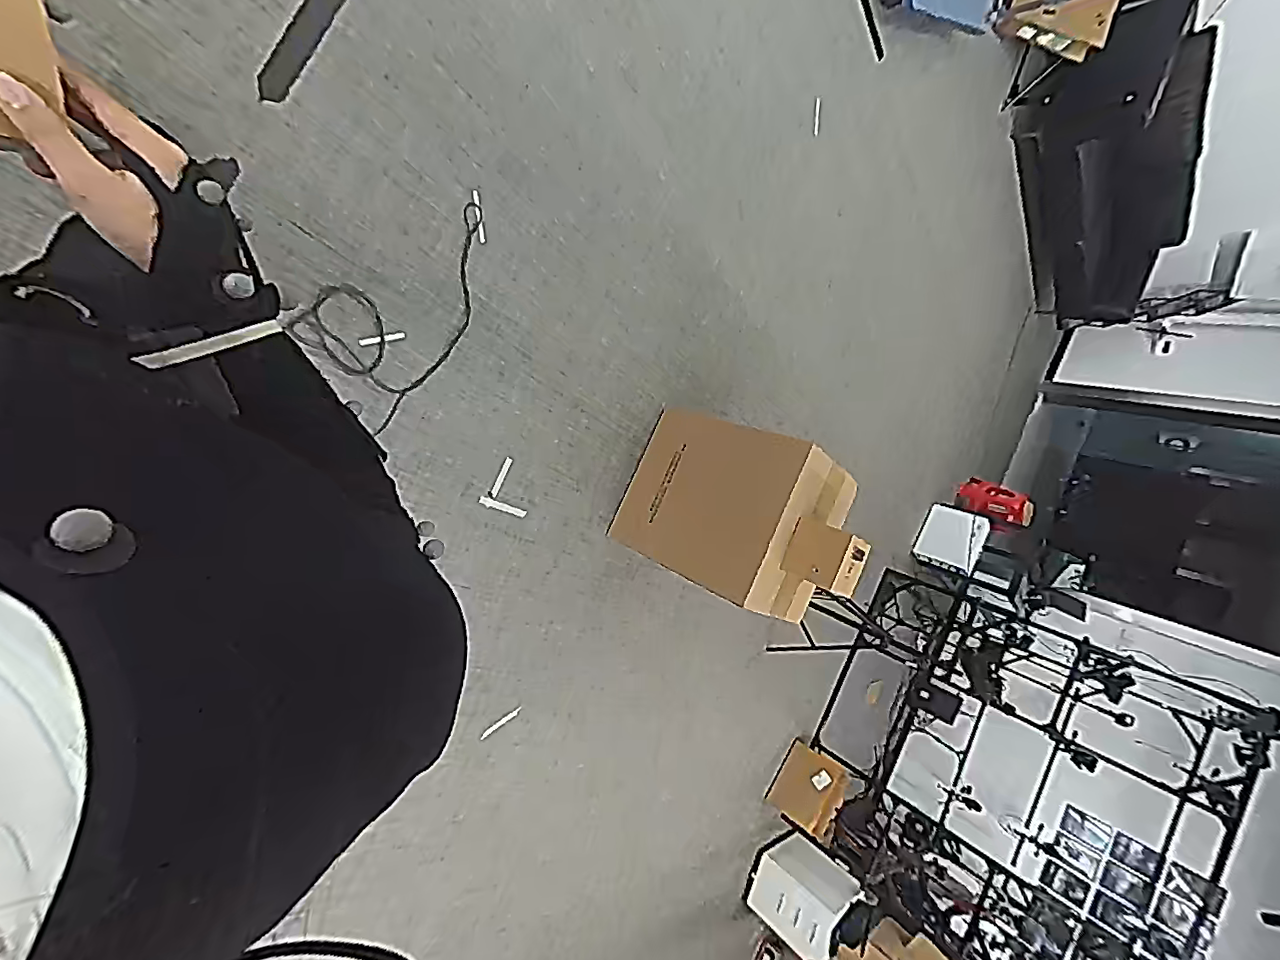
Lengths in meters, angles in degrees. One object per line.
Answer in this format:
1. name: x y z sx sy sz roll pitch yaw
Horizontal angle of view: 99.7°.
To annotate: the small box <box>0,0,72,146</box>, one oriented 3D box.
1. small box: -0.405 -0.276 0.253 0.168 0.176 0.179 -14 120 -47
